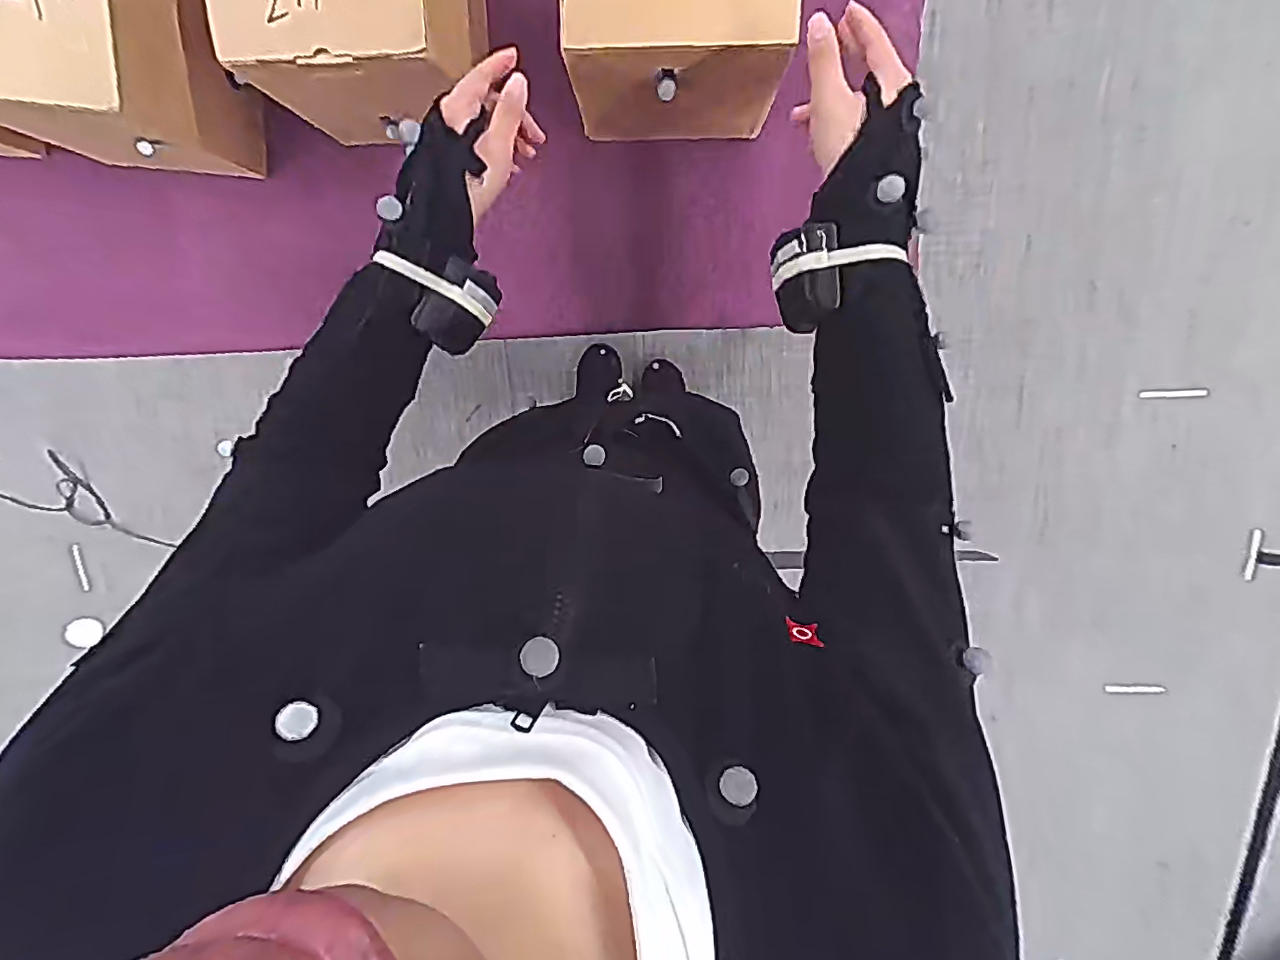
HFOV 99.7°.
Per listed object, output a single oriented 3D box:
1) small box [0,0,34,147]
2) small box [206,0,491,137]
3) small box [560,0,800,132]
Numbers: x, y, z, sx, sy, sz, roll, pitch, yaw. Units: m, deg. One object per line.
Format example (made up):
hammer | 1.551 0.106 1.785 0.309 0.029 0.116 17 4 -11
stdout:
small box | -0.714 -0.421 0.481 0.168 0.176 0.179 4 104 1
small box | -0.236 -0.425 0.463 0.168 0.176 0.179 0 103 3
small box | 0.032 -0.417 0.455 0.179 0.176 0.168 1 102 3
